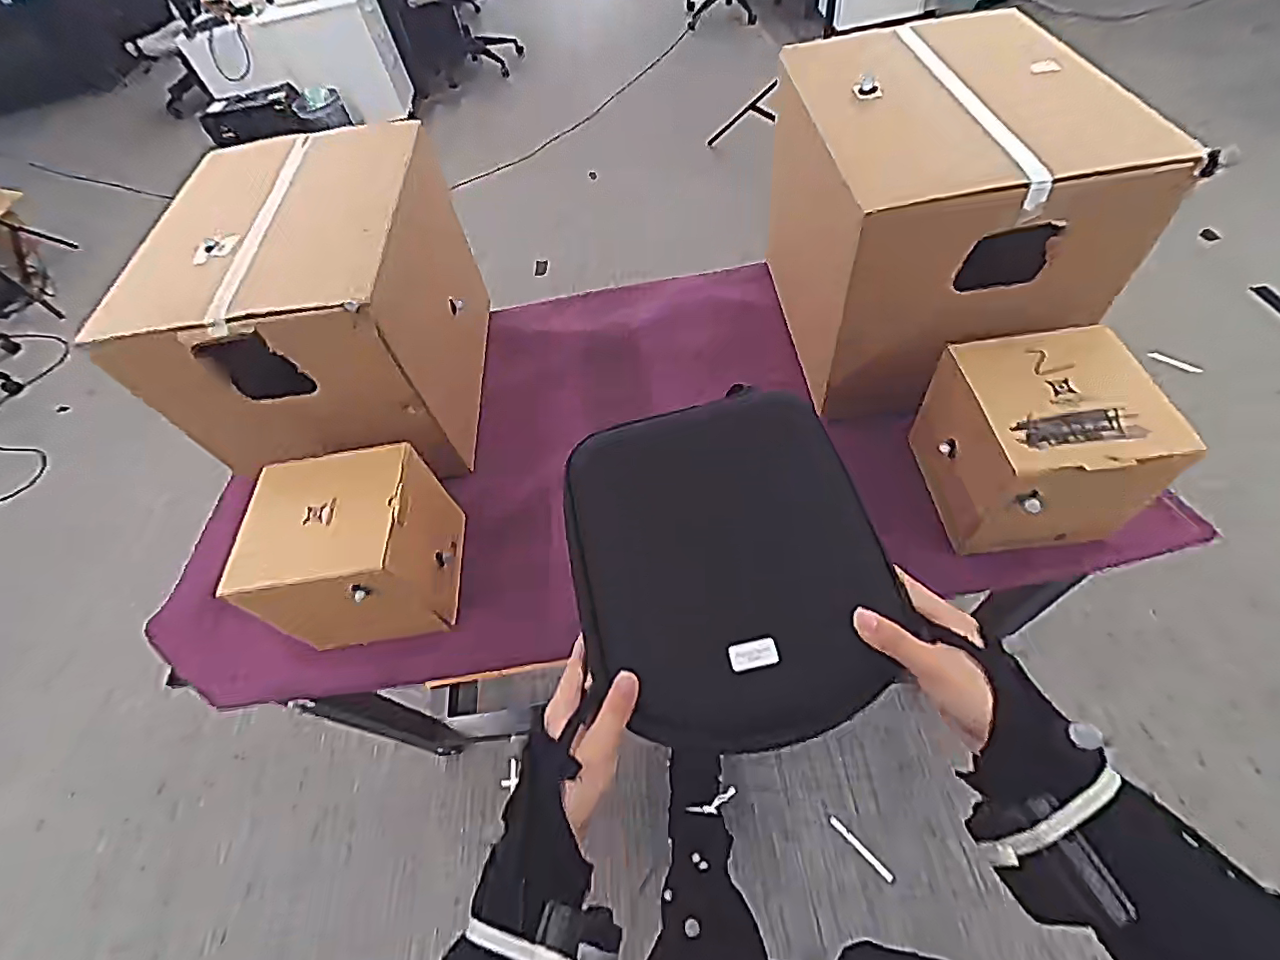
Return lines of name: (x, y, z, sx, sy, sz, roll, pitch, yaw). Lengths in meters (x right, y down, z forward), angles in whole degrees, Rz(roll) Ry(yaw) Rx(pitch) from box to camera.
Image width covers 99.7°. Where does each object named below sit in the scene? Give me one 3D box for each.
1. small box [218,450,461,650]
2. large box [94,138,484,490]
small box: (-0.338, 0.091, 0.650, 0.179, 0.176, 0.168, -10, 54, 2)
large box: (-0.431, -0.223, 0.791, 0.320, 0.320, 0.408, -9, 58, 2)
